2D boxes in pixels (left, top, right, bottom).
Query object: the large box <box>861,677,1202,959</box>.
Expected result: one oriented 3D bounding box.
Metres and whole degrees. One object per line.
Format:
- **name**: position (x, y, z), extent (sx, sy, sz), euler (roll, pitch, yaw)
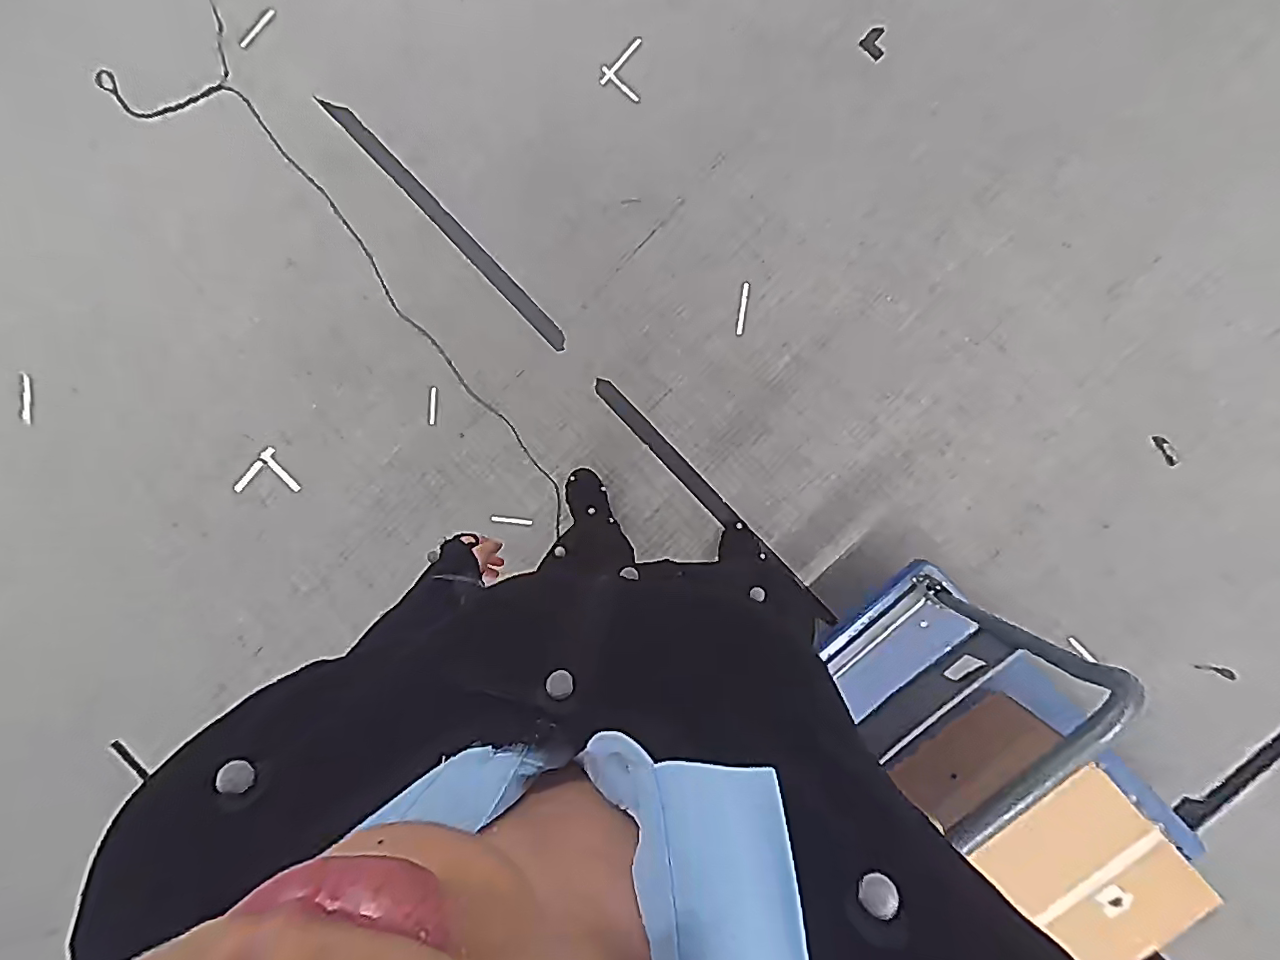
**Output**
- **large box**: position (0.745, 0.694, 1.106), extent (0.408, 0.320, 0.320), euler (-43, 87, 4)
